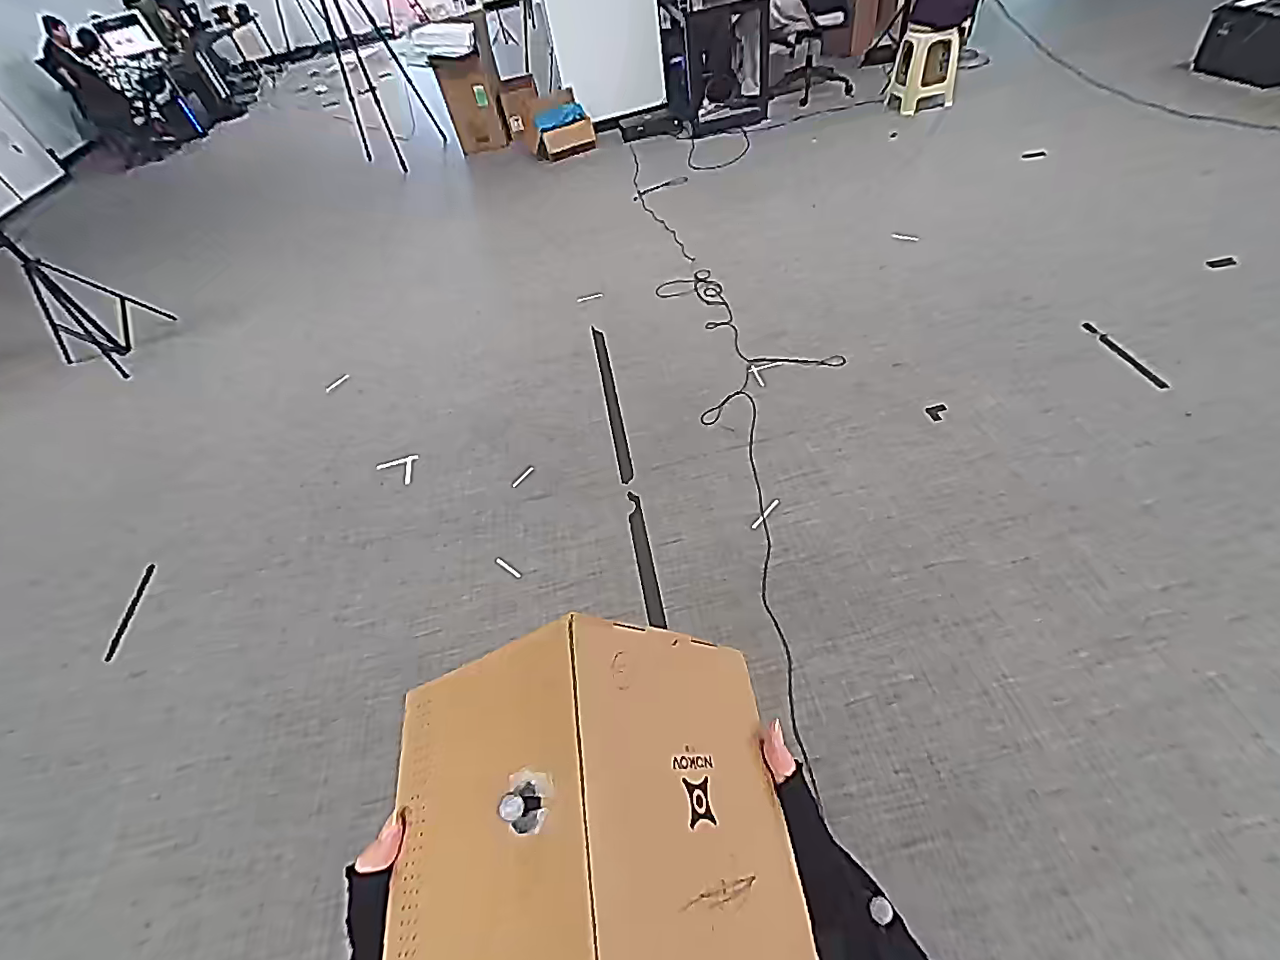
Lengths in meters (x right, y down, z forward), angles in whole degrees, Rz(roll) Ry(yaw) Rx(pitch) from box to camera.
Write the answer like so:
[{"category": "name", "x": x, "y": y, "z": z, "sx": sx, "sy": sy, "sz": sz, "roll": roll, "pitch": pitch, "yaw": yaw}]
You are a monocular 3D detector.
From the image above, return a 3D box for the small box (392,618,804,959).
[{"category": "small box", "x": -0.032, "y": 0.210, "z": 0.339, "sx": 0.176, "sy": 0.168, "sz": 0.179, "roll": -32, "pitch": 50, "yaw": 30}]
